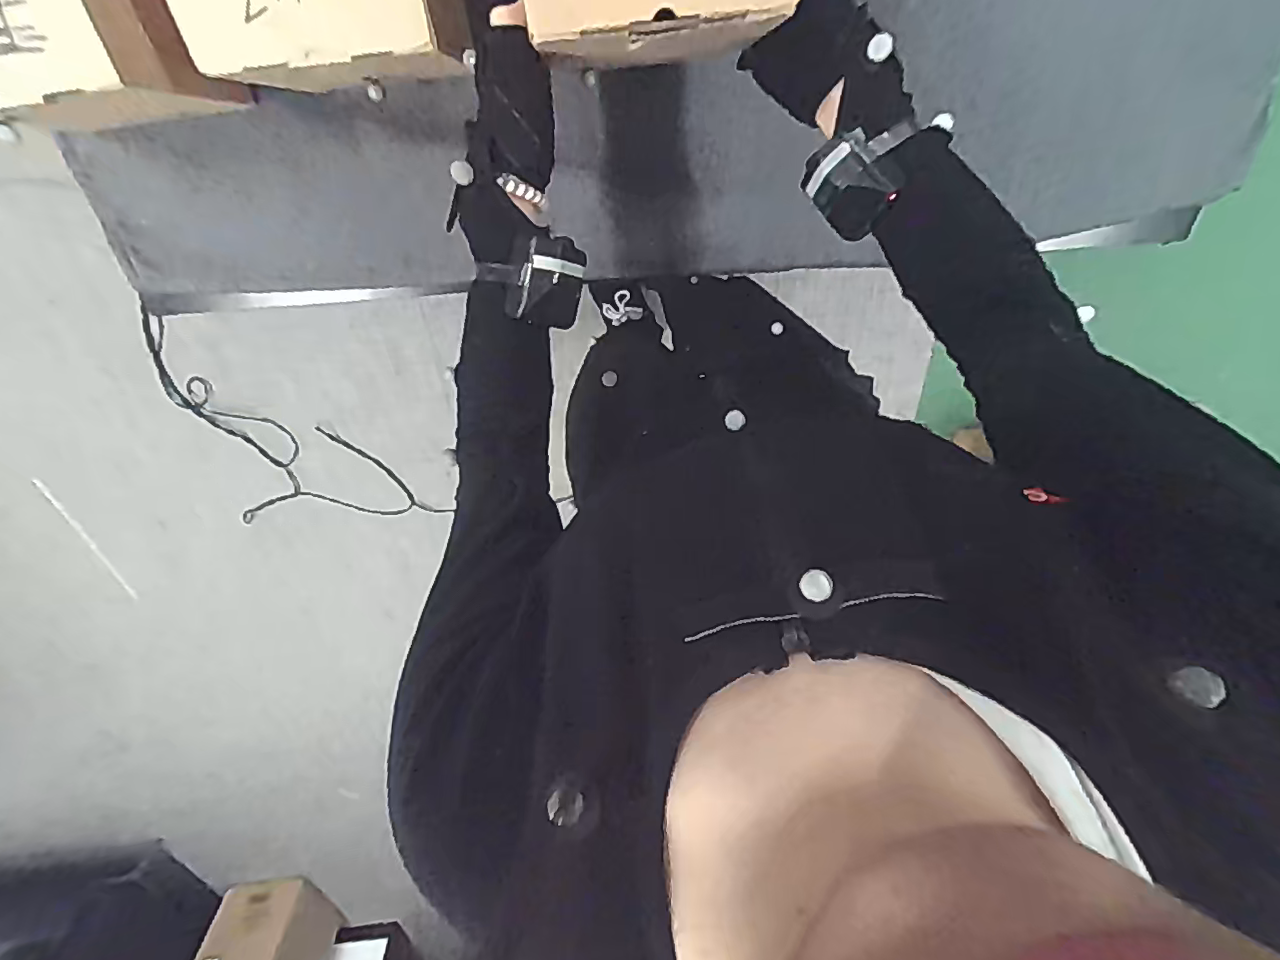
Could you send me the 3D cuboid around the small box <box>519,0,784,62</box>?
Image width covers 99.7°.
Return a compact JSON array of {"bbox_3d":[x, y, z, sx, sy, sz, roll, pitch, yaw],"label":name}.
[{"bbox_3d":[-0.001,-0.395,0.354,0.168,0.176,0.179,-7,120,-1],"label":"small box"}]
